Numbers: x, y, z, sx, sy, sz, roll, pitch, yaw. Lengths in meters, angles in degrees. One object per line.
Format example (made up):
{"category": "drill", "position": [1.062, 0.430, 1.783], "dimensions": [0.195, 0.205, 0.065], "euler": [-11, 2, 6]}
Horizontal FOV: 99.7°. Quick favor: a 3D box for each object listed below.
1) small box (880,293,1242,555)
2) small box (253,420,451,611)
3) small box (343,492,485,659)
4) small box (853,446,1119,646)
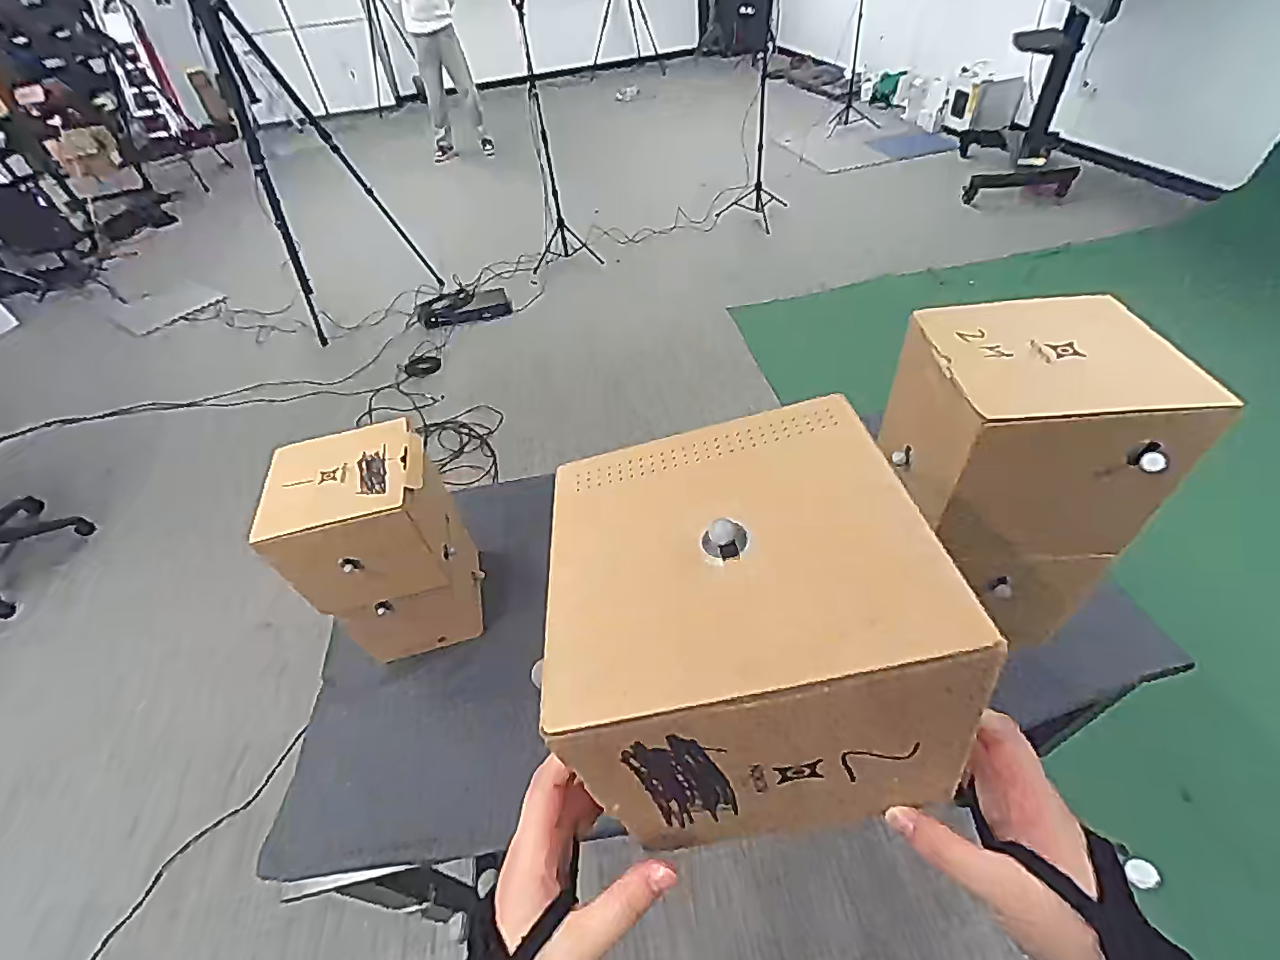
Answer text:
{"category": "small box", "position": [0.342, -0.047, 0.491], "dimensions": [0.179, 0.176, 0.168], "euler": [-4, 45, 7]}
{"category": "small box", "position": [-0.363, 0.050, 0.725], "dimensions": [0.179, 0.176, 0.168], "euler": [-14, 48, -5]}
{"category": "small box", "position": [-0.352, 0.151, 0.855], "dimensions": [0.168, 0.176, 0.179], "euler": [-14, 47, -6]}
{"category": "small box", "position": [0.358, 0.071, 0.606], "dimensions": [0.179, 0.176, 0.168], "euler": [-5, 45, 6]}
